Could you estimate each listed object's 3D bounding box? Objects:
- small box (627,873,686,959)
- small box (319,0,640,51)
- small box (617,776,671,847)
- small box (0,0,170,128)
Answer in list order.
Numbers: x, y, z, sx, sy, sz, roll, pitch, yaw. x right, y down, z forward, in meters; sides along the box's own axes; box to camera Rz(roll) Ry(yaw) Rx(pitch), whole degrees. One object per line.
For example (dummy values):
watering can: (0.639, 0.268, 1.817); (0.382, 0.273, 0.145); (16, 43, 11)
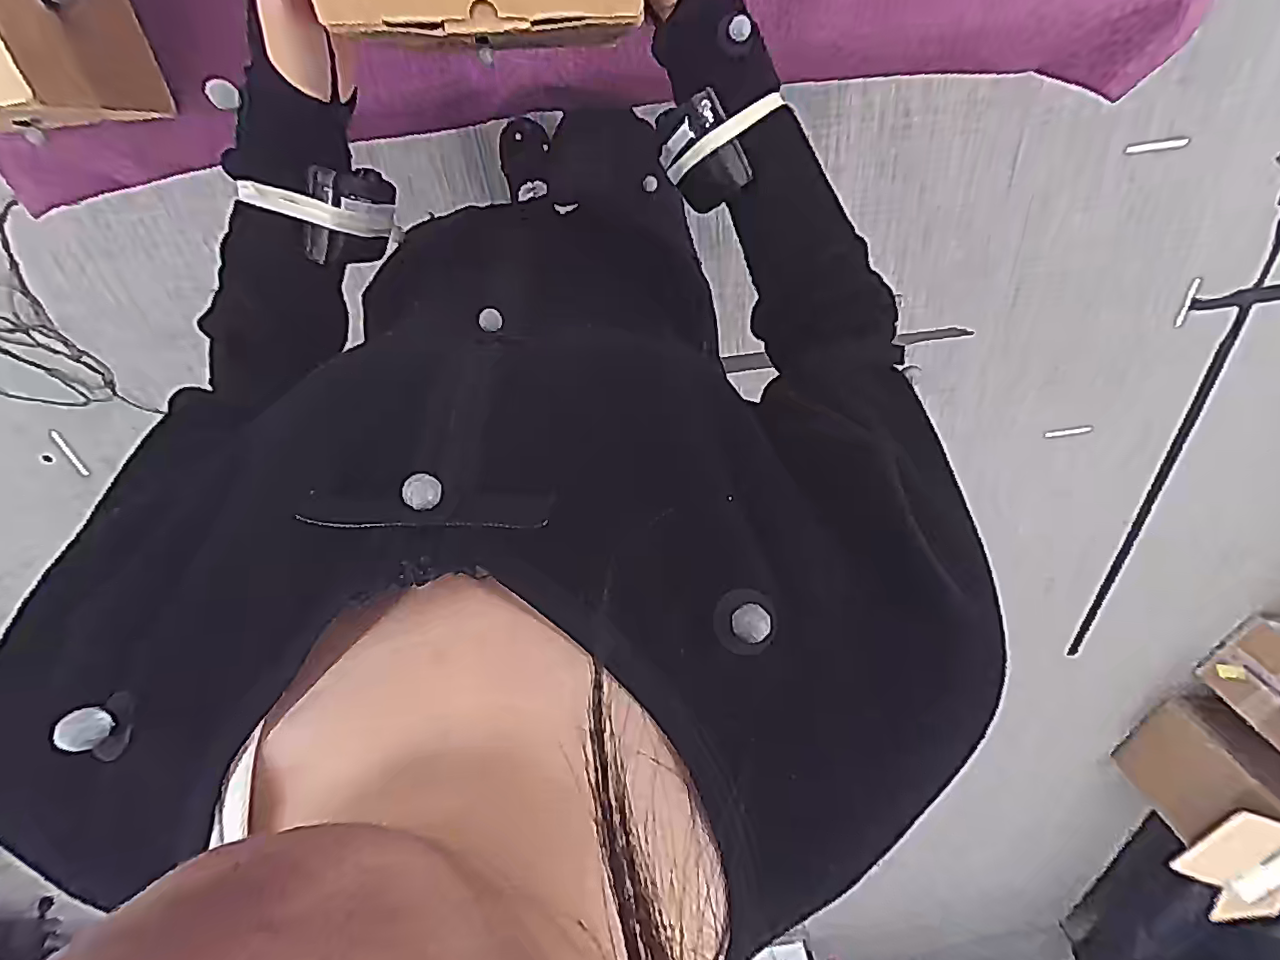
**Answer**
small box: (0.050, 1.419, 1.759); (0.179, 0.176, 0.168); (-6, 123, -4)
small box: (-0.092, -0.355, 0.299); (0.168, 0.176, 0.179); (-5, 127, -4)
small box: (0.013, 1.241, 2.034); (0.179, 0.176, 0.168); (-9, 122, -1)
small box: (-0.522, -0.371, 0.406); (0.168, 0.176, 0.179); (-8, 123, -3)
